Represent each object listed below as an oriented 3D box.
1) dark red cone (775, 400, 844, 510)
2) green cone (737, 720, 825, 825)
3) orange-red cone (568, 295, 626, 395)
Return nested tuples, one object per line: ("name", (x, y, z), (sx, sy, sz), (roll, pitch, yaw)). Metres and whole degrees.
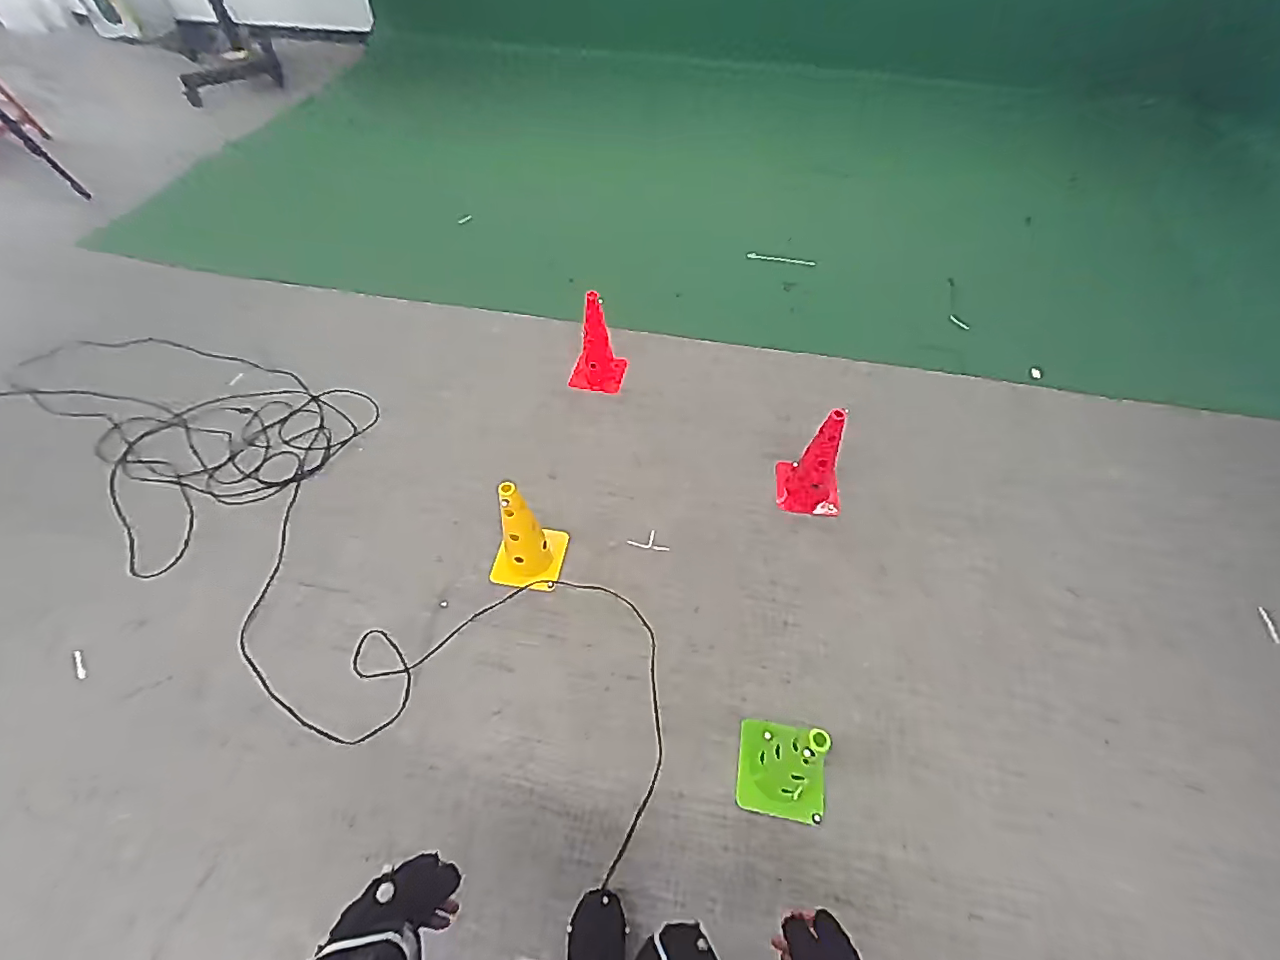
("dark red cone", (0.540, -0.086, 1.621), (0.202, 0.394, 0.201), (5, 52, 4))
("green cone", (0.333, 0.588, 1.152), (0.202, 0.368, 0.200), (8, 53, 7))
("orange-red cone", (-0.169, -0.508, 1.965), (0.198, 0.360, 0.199), (9, 55, 8))
